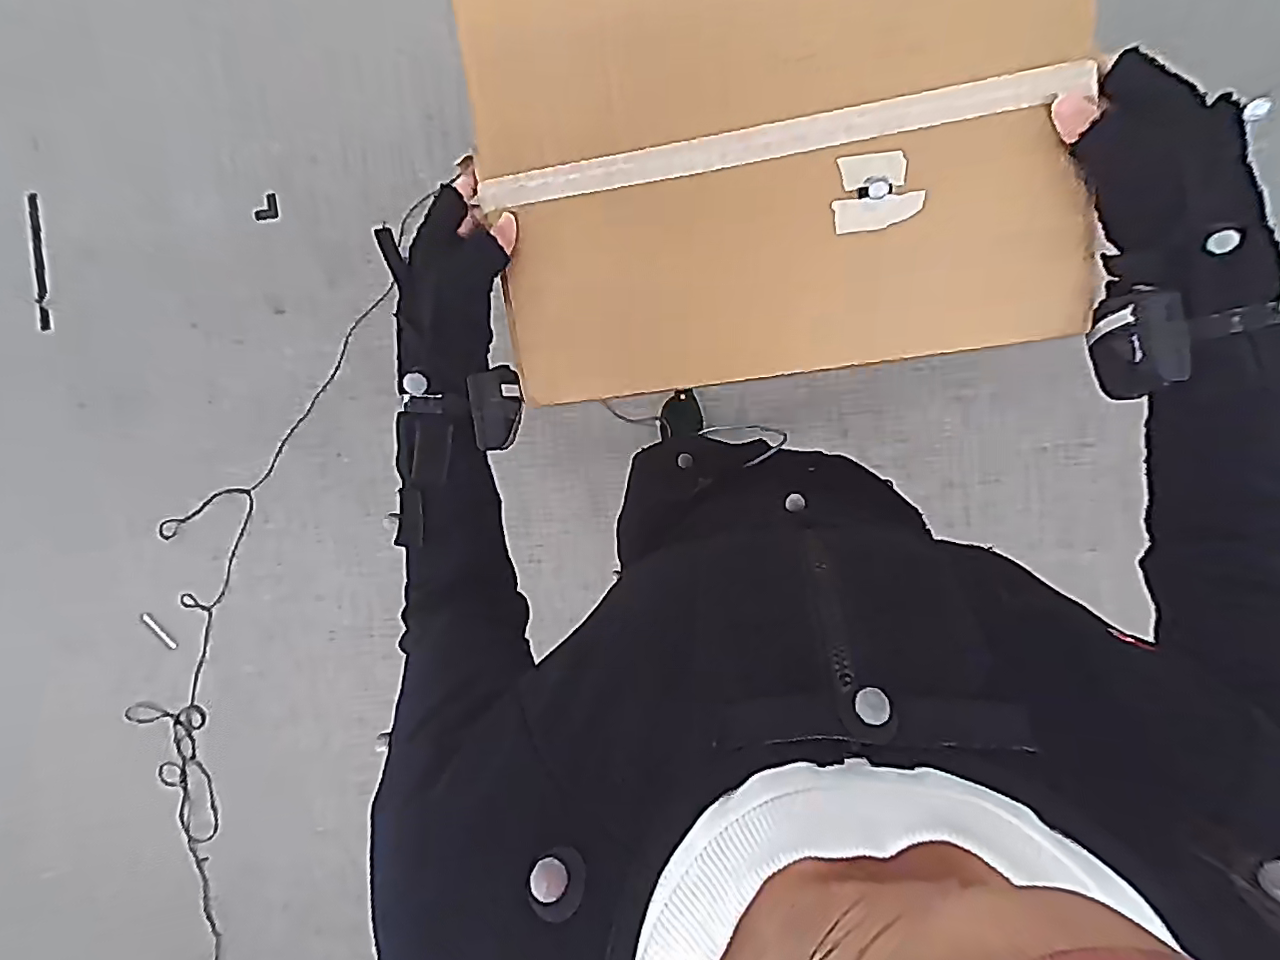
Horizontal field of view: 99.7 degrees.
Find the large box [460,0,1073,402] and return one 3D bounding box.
[{"bbox_3d":[0.101,-0.265,0.526,0.408,0.320,0.320,-7,101,7],"label":"large box"}]
